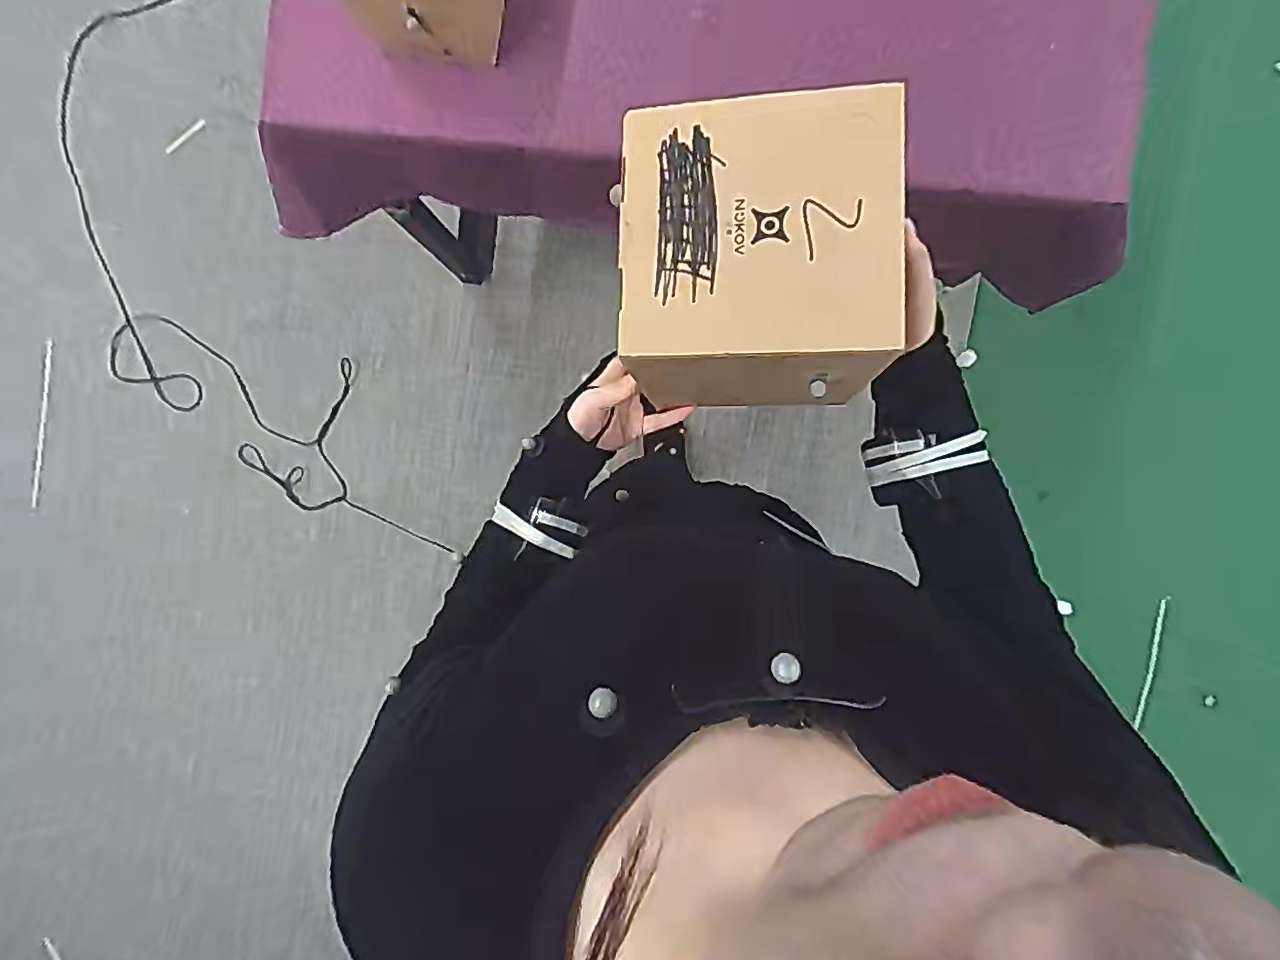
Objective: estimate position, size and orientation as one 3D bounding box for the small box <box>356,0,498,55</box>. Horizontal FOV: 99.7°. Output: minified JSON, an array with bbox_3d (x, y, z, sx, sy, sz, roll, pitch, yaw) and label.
[{"bbox_3d":[-0.269,-0.671,0.659,0.168,0.176,0.179,9,93,0],"label":"small box"}]
